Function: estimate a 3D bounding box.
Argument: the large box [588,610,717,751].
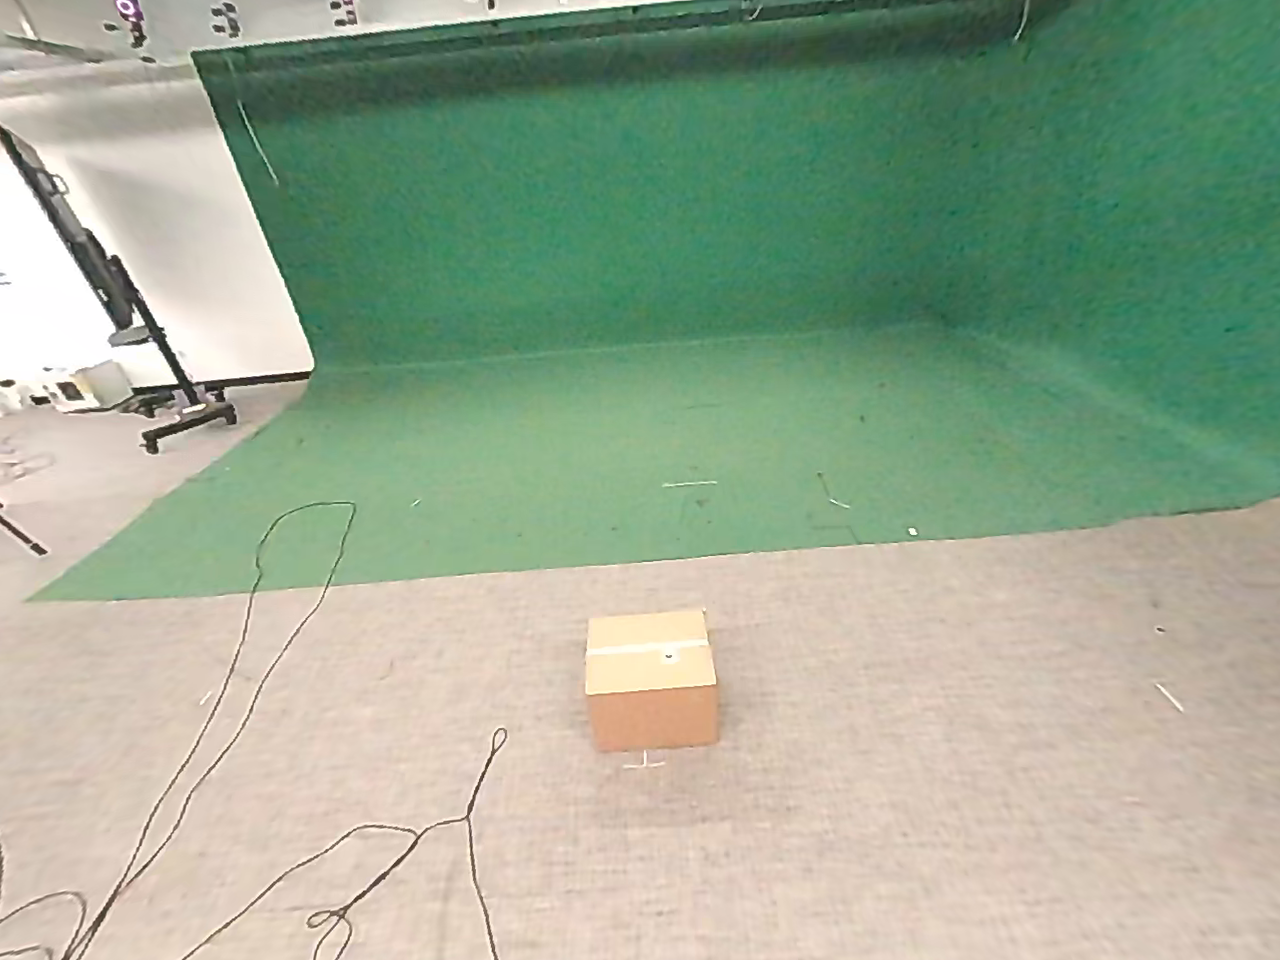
[{"bbox_3d":[0.038,0.682,1.852,0.408,0.320,0.320,-5,32,0],"label":"large box"}]
